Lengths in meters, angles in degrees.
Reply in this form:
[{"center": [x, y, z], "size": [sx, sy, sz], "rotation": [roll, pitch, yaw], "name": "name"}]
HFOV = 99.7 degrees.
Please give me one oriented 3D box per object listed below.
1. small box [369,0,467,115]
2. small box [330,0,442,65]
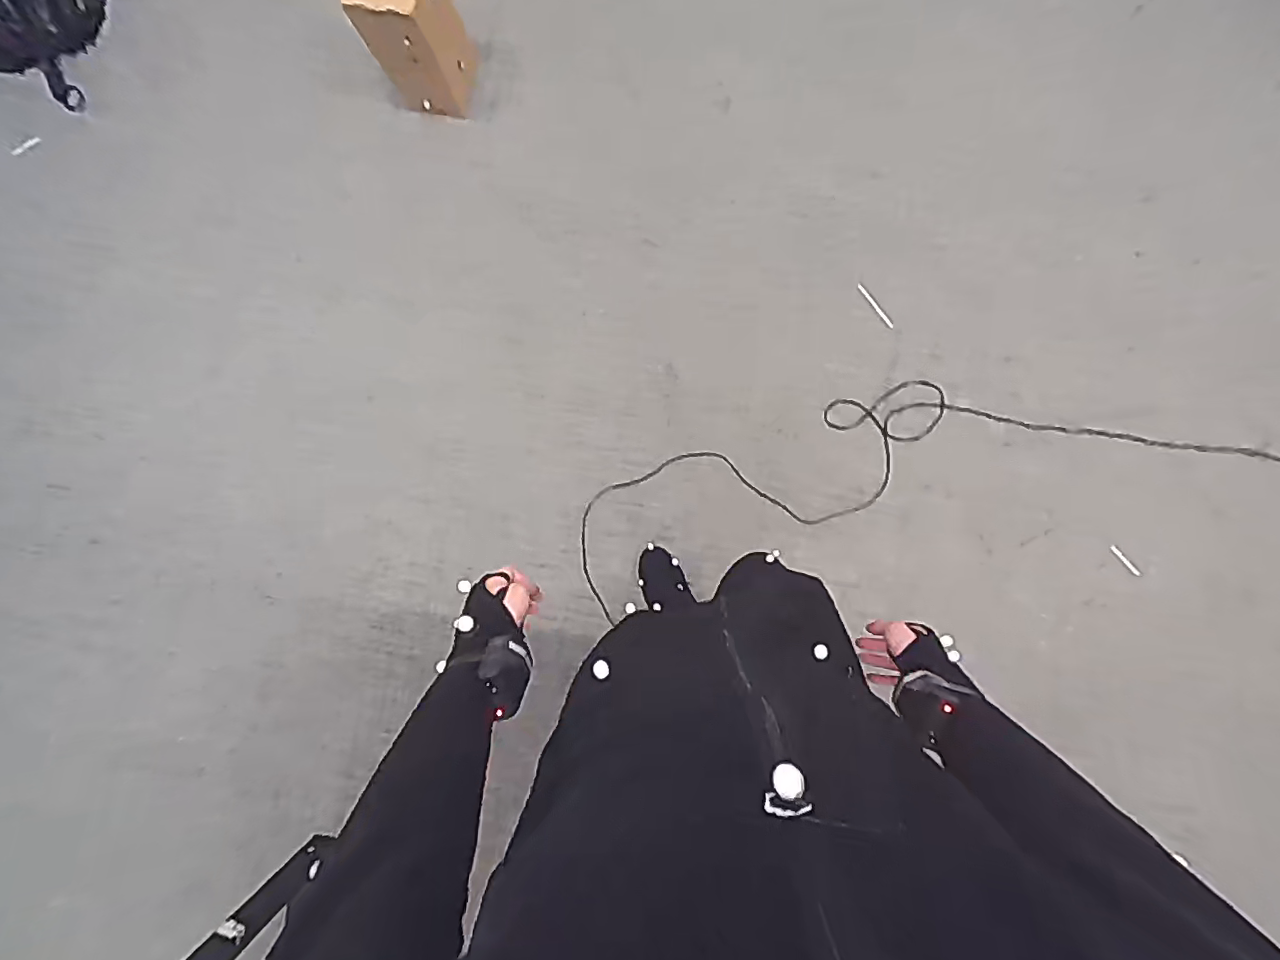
[{"center": [-0.560, -1.087, 1.389], "size": [0.168, 0.176, 0.179], "rotation": [9, 89, 3], "name": "small box"}, {"center": [-0.567, -1.092, 1.226], "size": [0.168, 0.176, 0.179], "rotation": [8, 87, 2], "name": "small box"}]
